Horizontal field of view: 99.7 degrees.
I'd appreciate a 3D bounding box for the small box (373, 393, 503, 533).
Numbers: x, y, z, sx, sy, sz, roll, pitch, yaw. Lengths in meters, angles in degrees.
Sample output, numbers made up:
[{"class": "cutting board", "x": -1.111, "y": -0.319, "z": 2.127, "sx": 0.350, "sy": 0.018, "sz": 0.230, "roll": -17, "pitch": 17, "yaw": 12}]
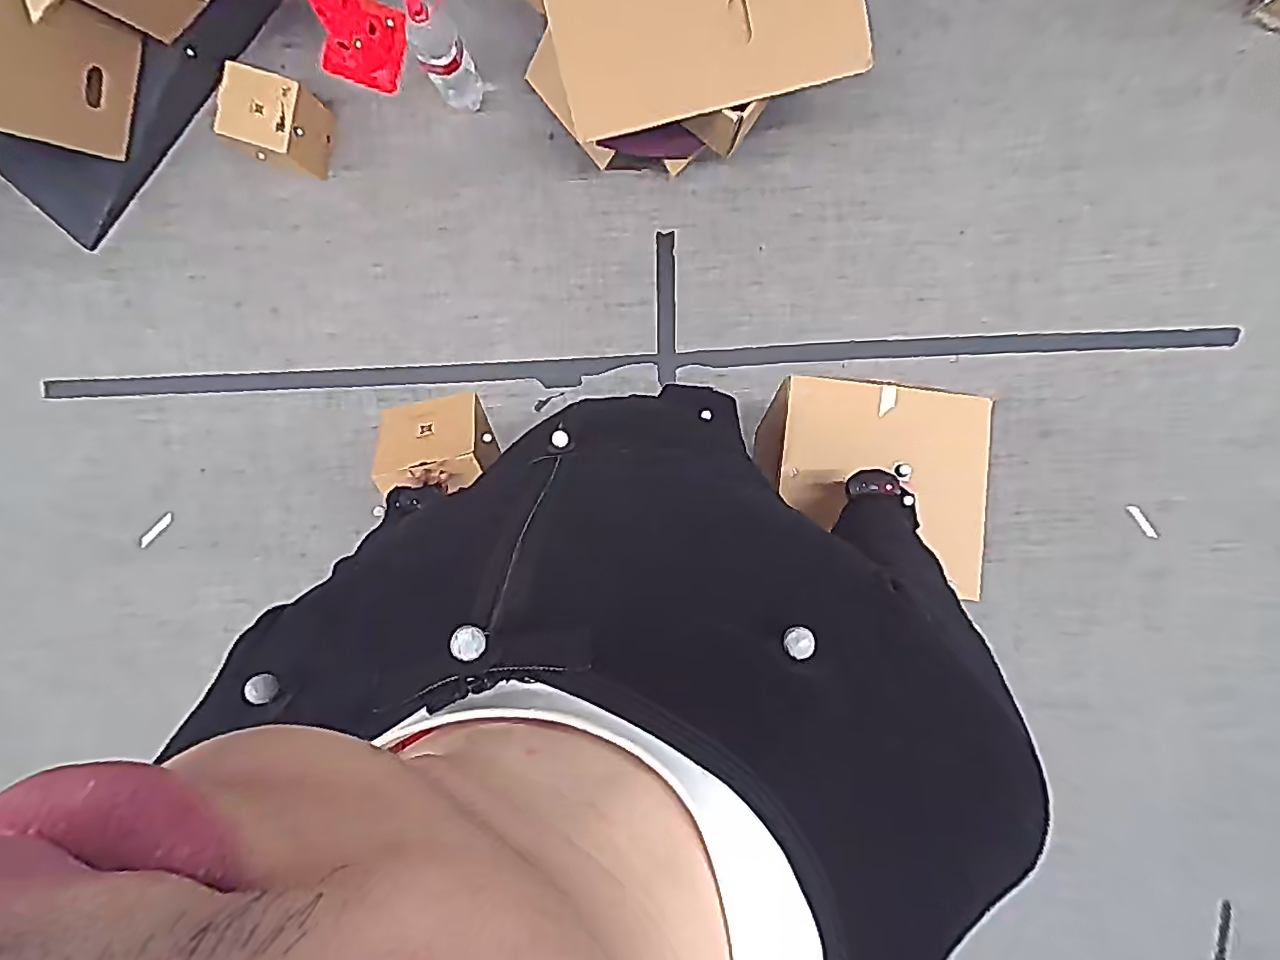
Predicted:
[{"class": "small box", "x": -0.349, "y": -0.024, "z": 0.969, "sx": 0.168, "sy": 0.179, "sz": 0.176, "roll": -13, "pitch": 135, "yaw": -4}]
